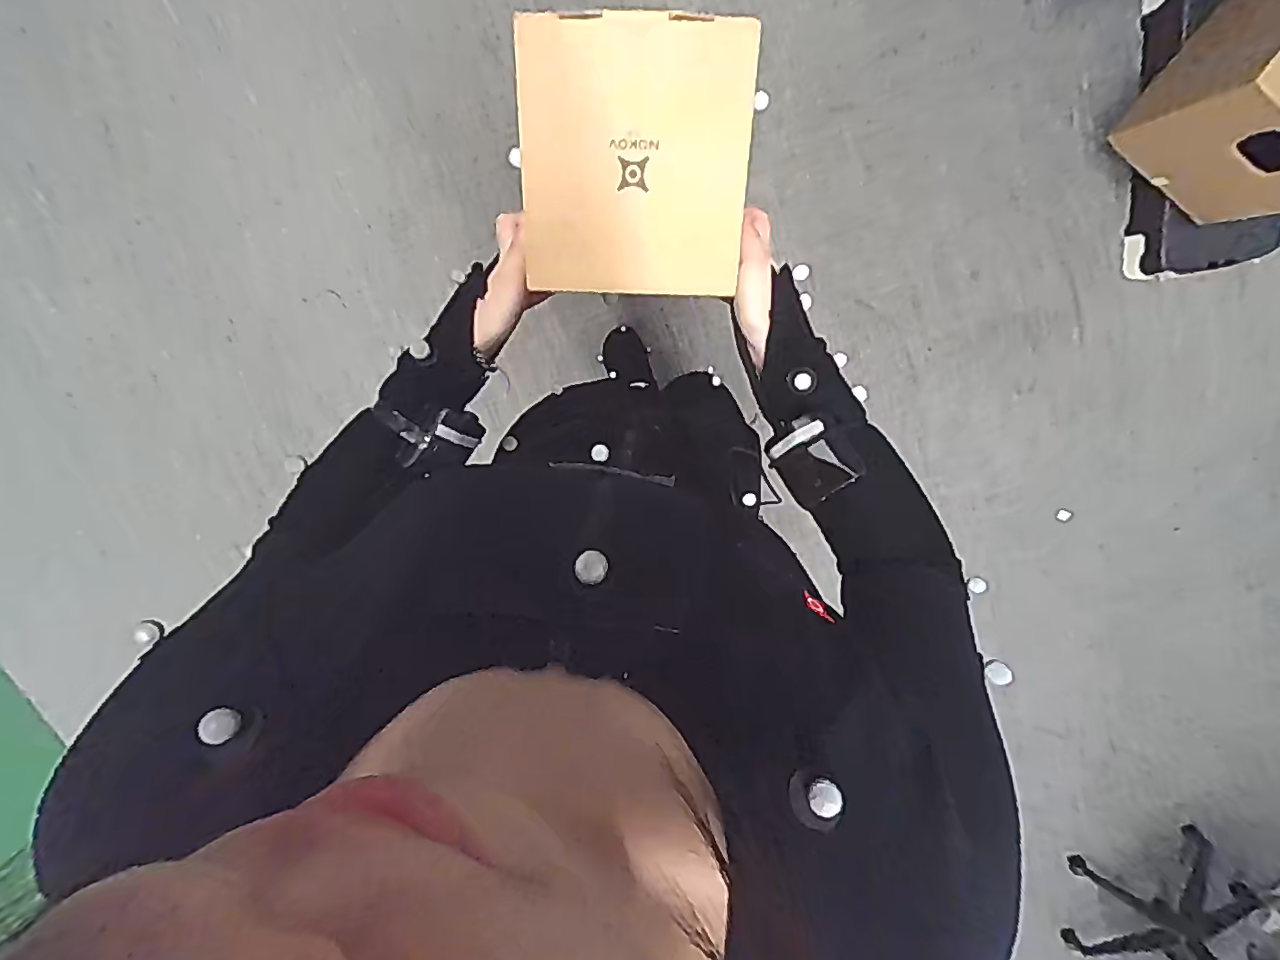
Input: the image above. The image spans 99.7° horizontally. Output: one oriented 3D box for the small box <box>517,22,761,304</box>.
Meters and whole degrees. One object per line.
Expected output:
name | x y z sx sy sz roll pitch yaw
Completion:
small box | 0.000 -0.252 0.463 0.168 0.176 0.179 2 113 1
